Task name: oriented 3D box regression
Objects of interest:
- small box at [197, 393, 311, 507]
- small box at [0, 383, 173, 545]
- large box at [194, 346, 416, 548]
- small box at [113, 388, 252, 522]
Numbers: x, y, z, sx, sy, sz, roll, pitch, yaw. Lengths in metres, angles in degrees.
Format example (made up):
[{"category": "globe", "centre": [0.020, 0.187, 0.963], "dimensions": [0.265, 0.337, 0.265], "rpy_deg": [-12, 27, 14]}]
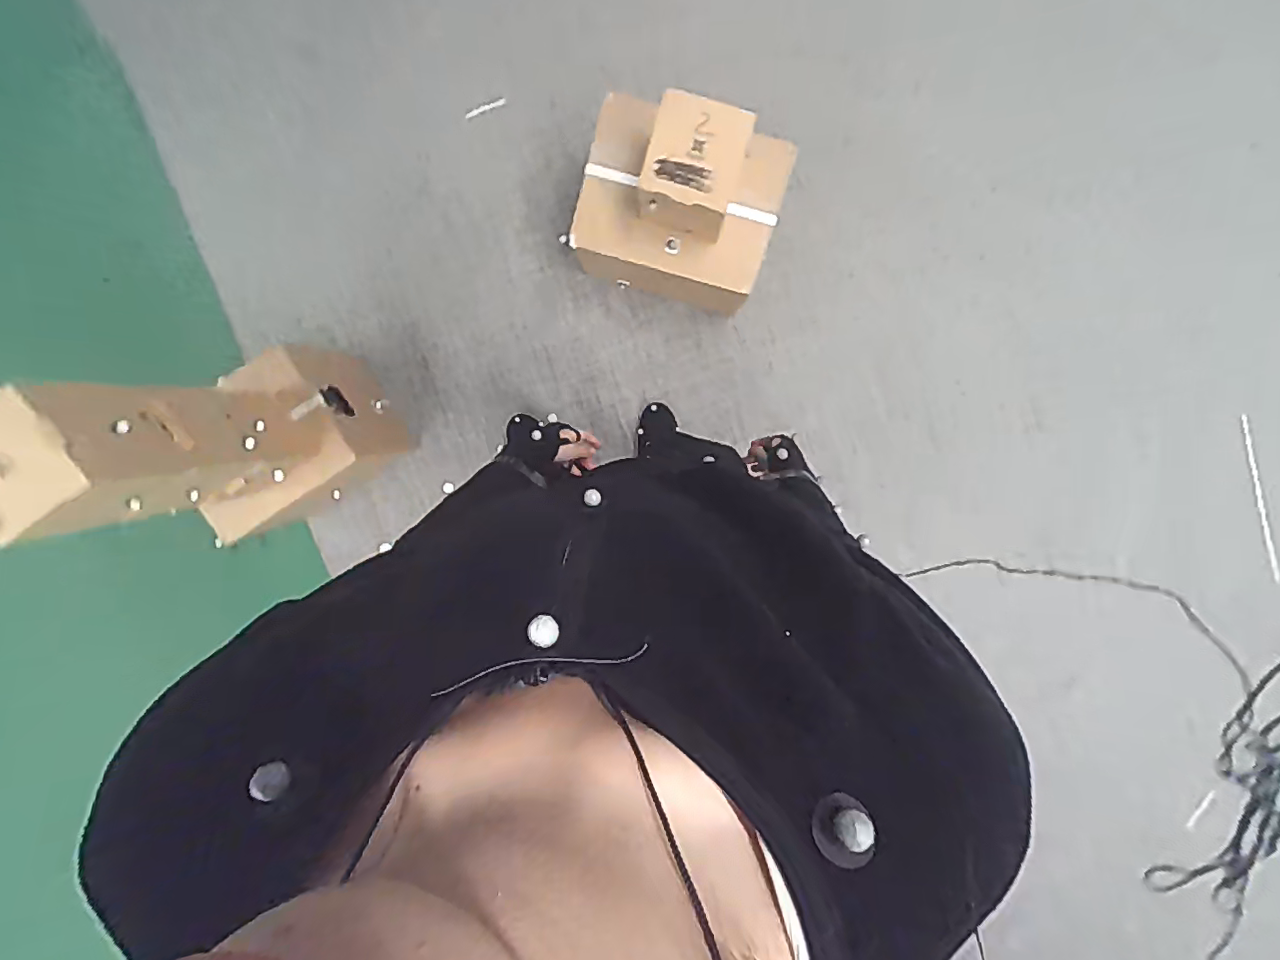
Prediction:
[{"category": "small box", "centre": [-0.846, -0.070, 1.137], "dimensions": [0.168, 0.176, 0.179], "rpy_deg": [-31, 95, 6]}, {"category": "small box", "centre": [-0.863, -0.030, 0.811], "dimensions": [0.179, 0.176, 0.168], "rpy_deg": [-31, 95, 5]}, {"category": "large box", "centre": [-0.877, -0.092, 1.382], "dimensions": [0.408, 0.320, 0.320], "rpy_deg": [-31, 94, 8]}, {"category": "small box", "centre": [-0.852, -0.052, 0.974], "dimensions": [0.179, 0.176, 0.168], "rpy_deg": [-32, 96, 7]}]
